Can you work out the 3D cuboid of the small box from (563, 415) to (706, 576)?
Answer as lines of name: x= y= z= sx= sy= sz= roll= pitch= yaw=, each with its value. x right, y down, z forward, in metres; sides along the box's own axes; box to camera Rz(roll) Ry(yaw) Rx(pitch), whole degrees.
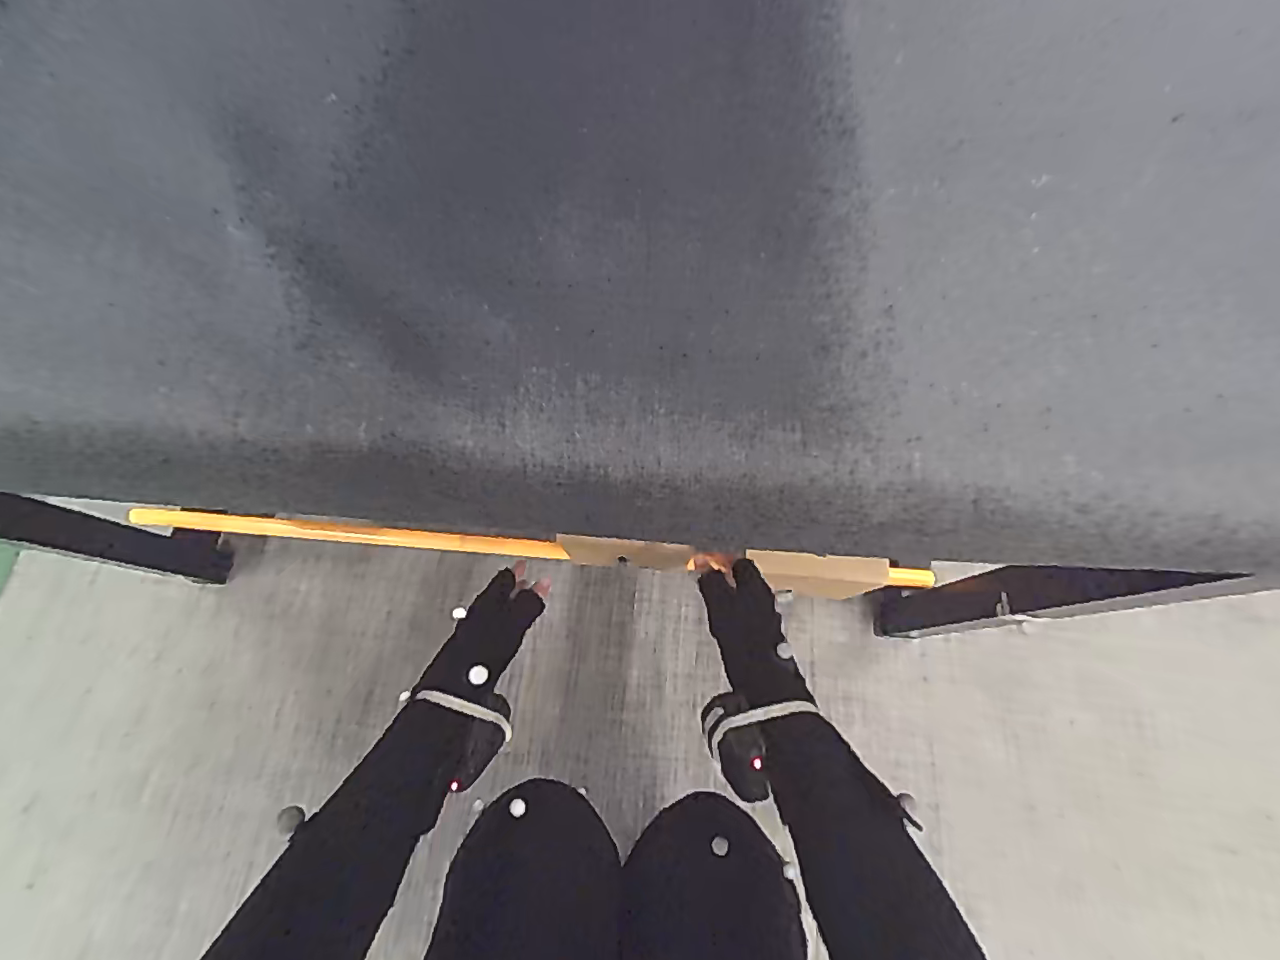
small box: x=-0.003 y=0.030 z=0.738 sx=0.168 sy=0.176 sz=0.179 roll=4 pitch=71 yaw=1
